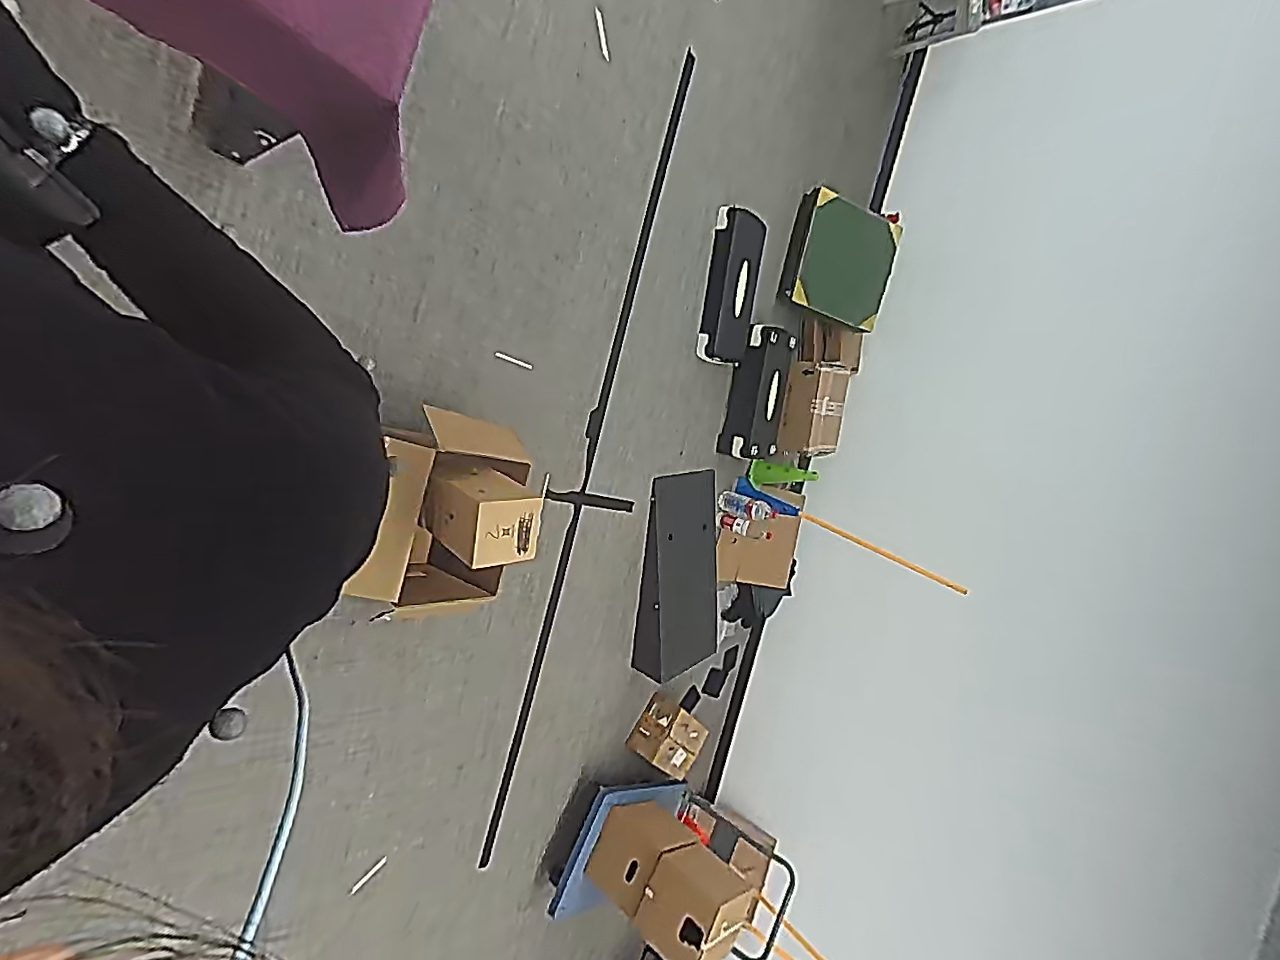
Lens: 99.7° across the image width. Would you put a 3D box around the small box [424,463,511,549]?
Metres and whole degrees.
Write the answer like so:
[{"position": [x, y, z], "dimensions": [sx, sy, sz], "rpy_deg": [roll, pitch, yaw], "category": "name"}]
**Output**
[{"position": [-0.468, 0.060, 1.463], "dimensions": [0.168, 0.176, 0.179], "rpy_deg": [-17, 119, -42], "category": "small box"}]
